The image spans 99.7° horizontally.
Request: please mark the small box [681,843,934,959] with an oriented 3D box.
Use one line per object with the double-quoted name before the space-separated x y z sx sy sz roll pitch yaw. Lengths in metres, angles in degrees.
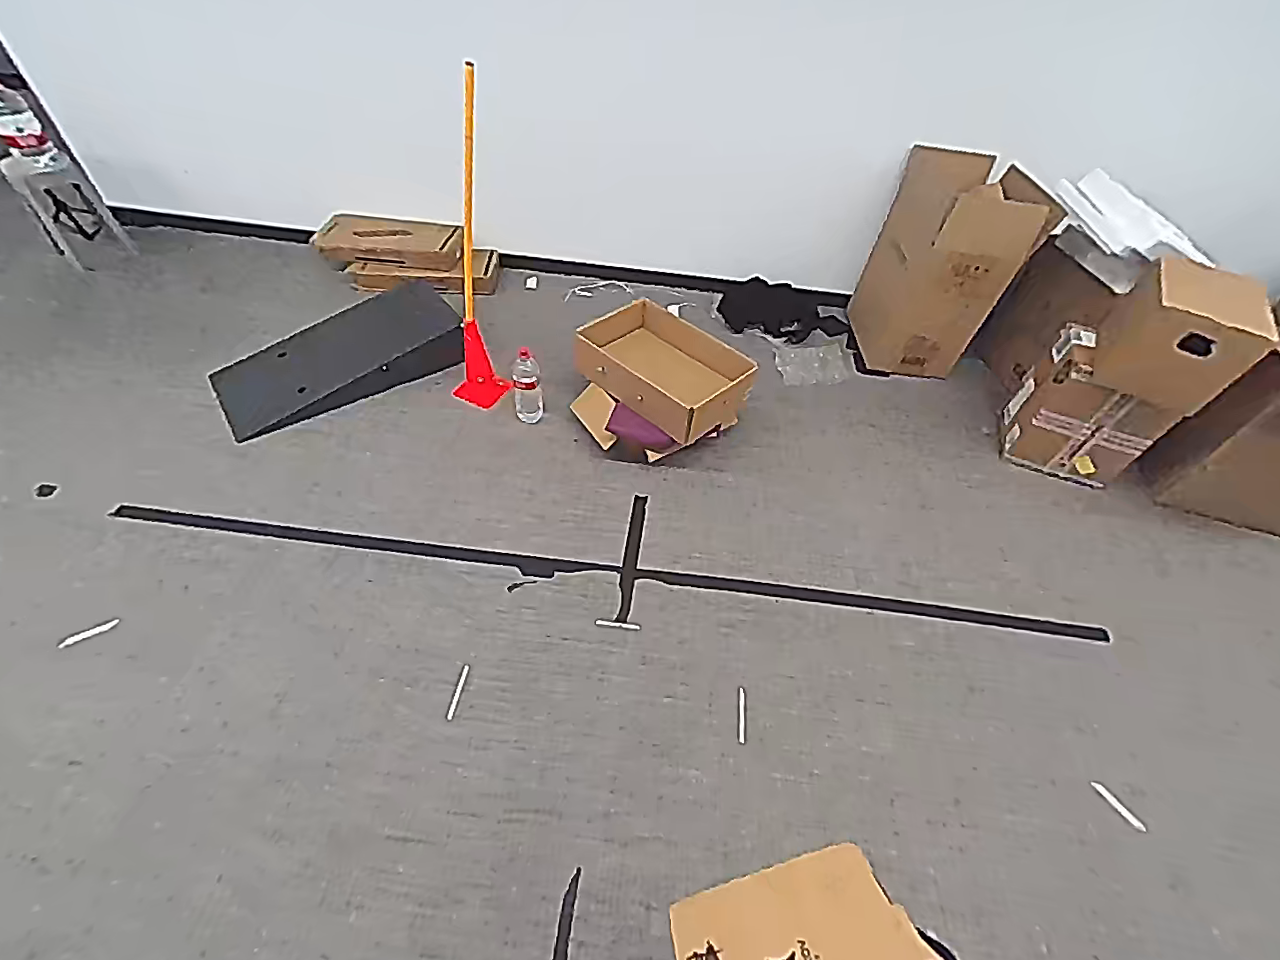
"small box" 0.146 0.437 0.414 0.179 0.176 0.168 -18 8 -3
